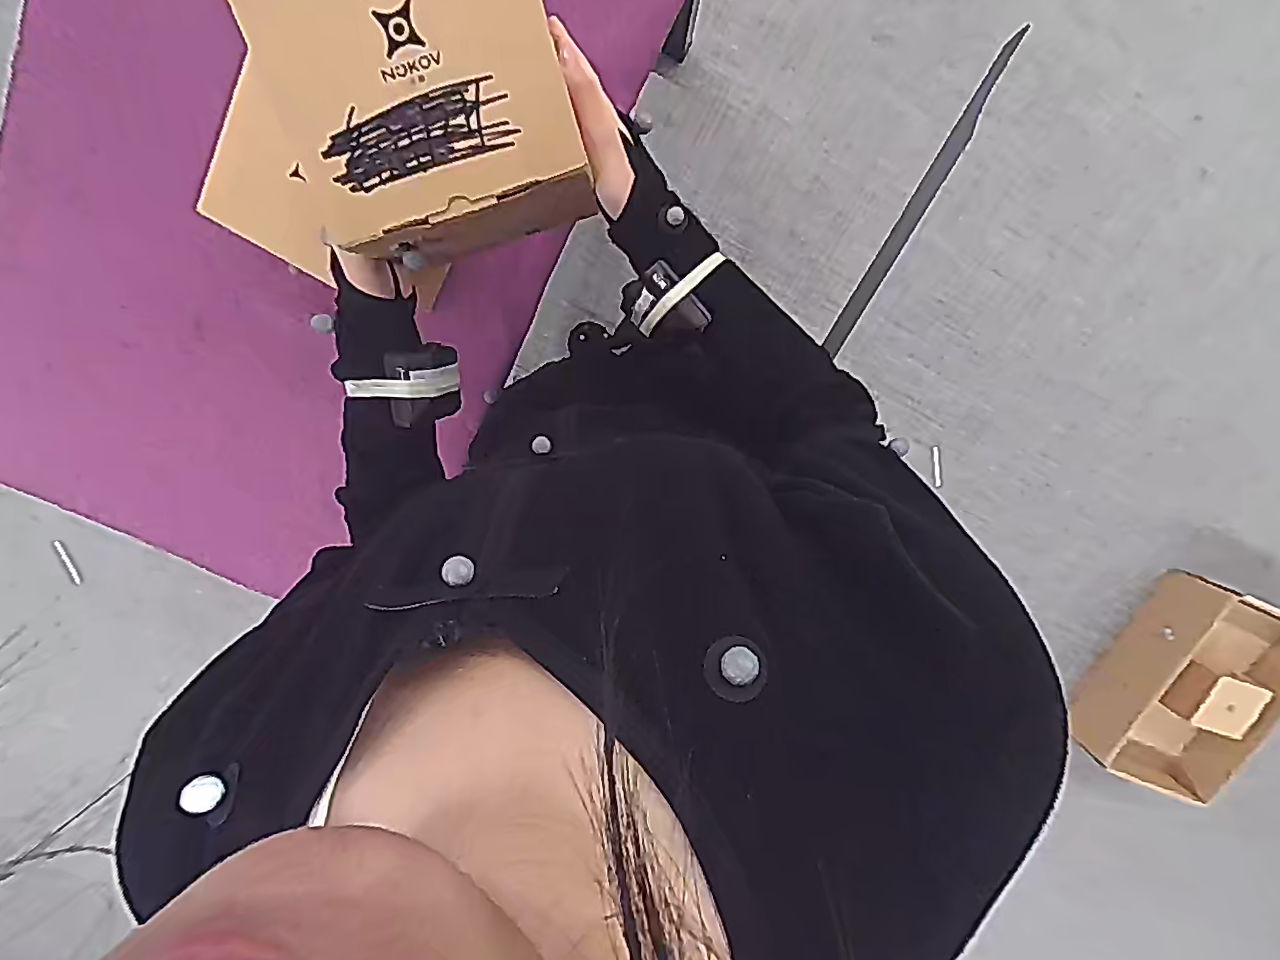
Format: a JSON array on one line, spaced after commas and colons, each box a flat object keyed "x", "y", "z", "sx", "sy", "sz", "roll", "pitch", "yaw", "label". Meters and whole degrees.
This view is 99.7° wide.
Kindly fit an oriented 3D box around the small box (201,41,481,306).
[{"x": -0.302, "y": -0.301, "z": 0.582, "sx": 0.179, "sy": 0.176, "sz": 0.168, "roll": 29, "pitch": 103, "yaw": -8, "label": "small box"}]

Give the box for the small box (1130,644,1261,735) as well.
[{"x": 1.628, "y": 0.612, "z": 1.597, "sx": 0.179, "sy": 0.176, "sz": 0.168, "roll": 18, "pitch": 103, "yaw": -6, "label": "small box"}]
